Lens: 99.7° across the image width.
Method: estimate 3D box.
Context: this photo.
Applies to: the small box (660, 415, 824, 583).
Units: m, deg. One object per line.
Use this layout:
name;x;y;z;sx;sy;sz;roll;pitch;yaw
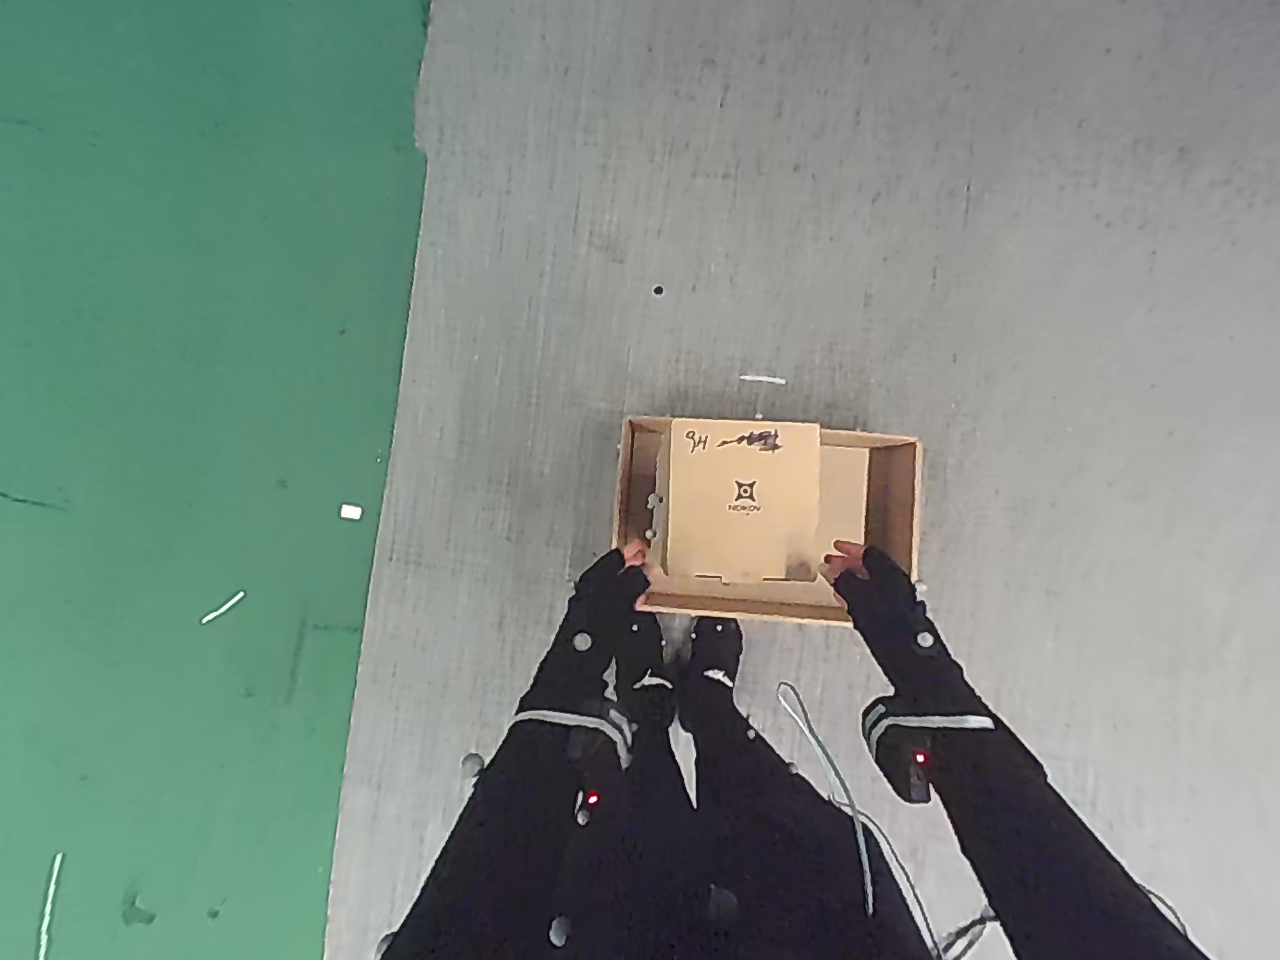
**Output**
small box;0.113;0.023;0.661;0.168;0.176;0.179;2;87;-1
